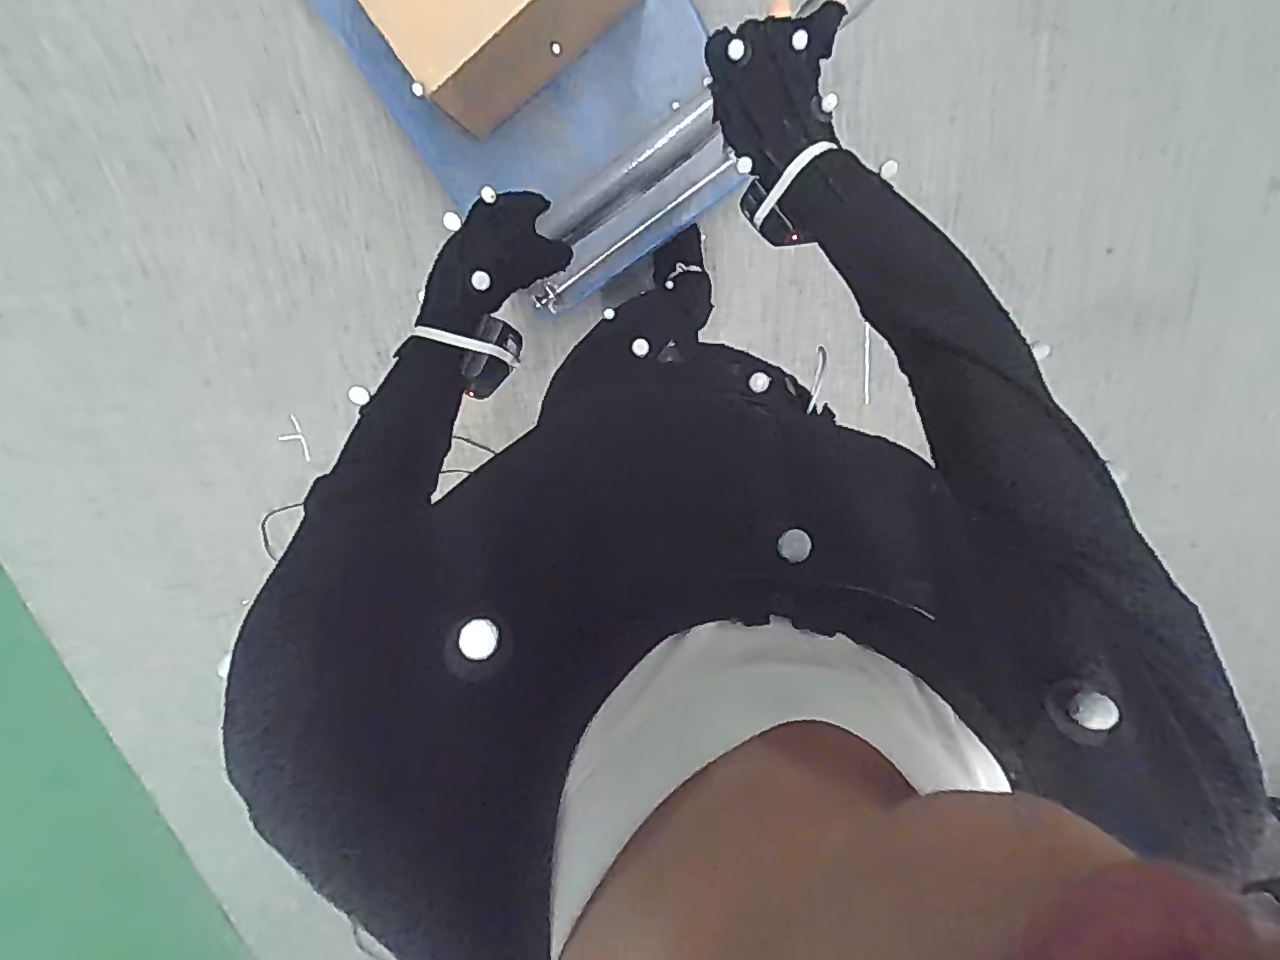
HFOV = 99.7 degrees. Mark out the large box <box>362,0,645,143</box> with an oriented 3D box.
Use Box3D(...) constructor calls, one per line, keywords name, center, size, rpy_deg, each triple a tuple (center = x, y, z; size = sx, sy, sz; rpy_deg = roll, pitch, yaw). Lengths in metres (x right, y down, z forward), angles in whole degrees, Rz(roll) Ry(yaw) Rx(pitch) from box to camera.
Box3D(name="large box", center=(-0.226, -0.829, 0.848), size=(0.408, 0.320, 0.320), rpy_deg=(-34, 108, 12))
